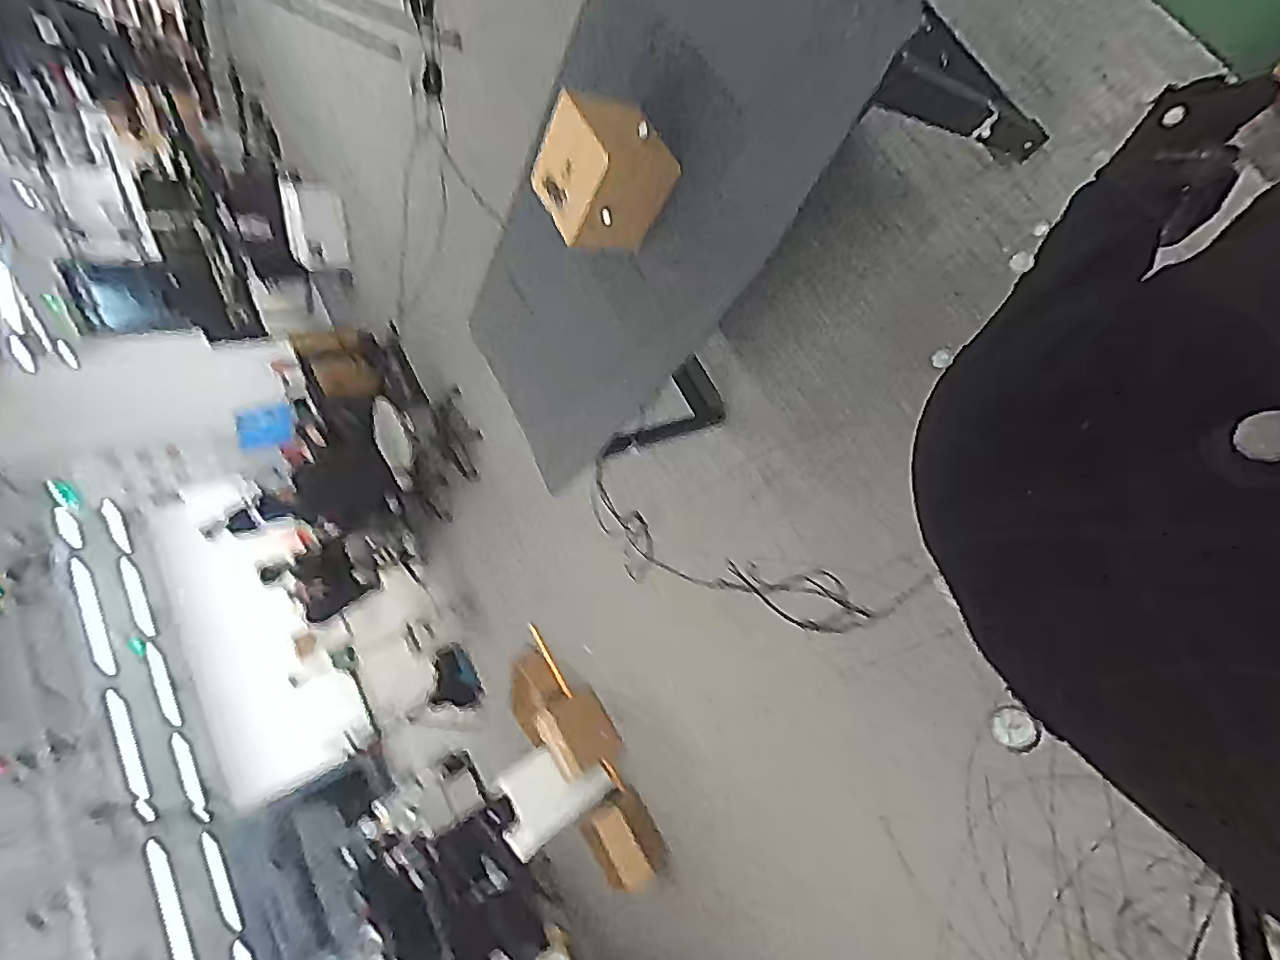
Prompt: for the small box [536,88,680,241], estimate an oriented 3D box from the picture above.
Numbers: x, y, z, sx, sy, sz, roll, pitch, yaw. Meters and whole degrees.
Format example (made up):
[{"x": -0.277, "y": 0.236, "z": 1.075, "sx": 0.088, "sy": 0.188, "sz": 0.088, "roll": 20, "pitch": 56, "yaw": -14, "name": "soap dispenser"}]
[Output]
[{"x": -0.059, "y": -0.558, "z": 0.982, "sx": 0.168, "sy": 0.176, "sz": 0.179, "roll": 60, "pitch": 140, "yaw": 14, "name": "small box"}]
